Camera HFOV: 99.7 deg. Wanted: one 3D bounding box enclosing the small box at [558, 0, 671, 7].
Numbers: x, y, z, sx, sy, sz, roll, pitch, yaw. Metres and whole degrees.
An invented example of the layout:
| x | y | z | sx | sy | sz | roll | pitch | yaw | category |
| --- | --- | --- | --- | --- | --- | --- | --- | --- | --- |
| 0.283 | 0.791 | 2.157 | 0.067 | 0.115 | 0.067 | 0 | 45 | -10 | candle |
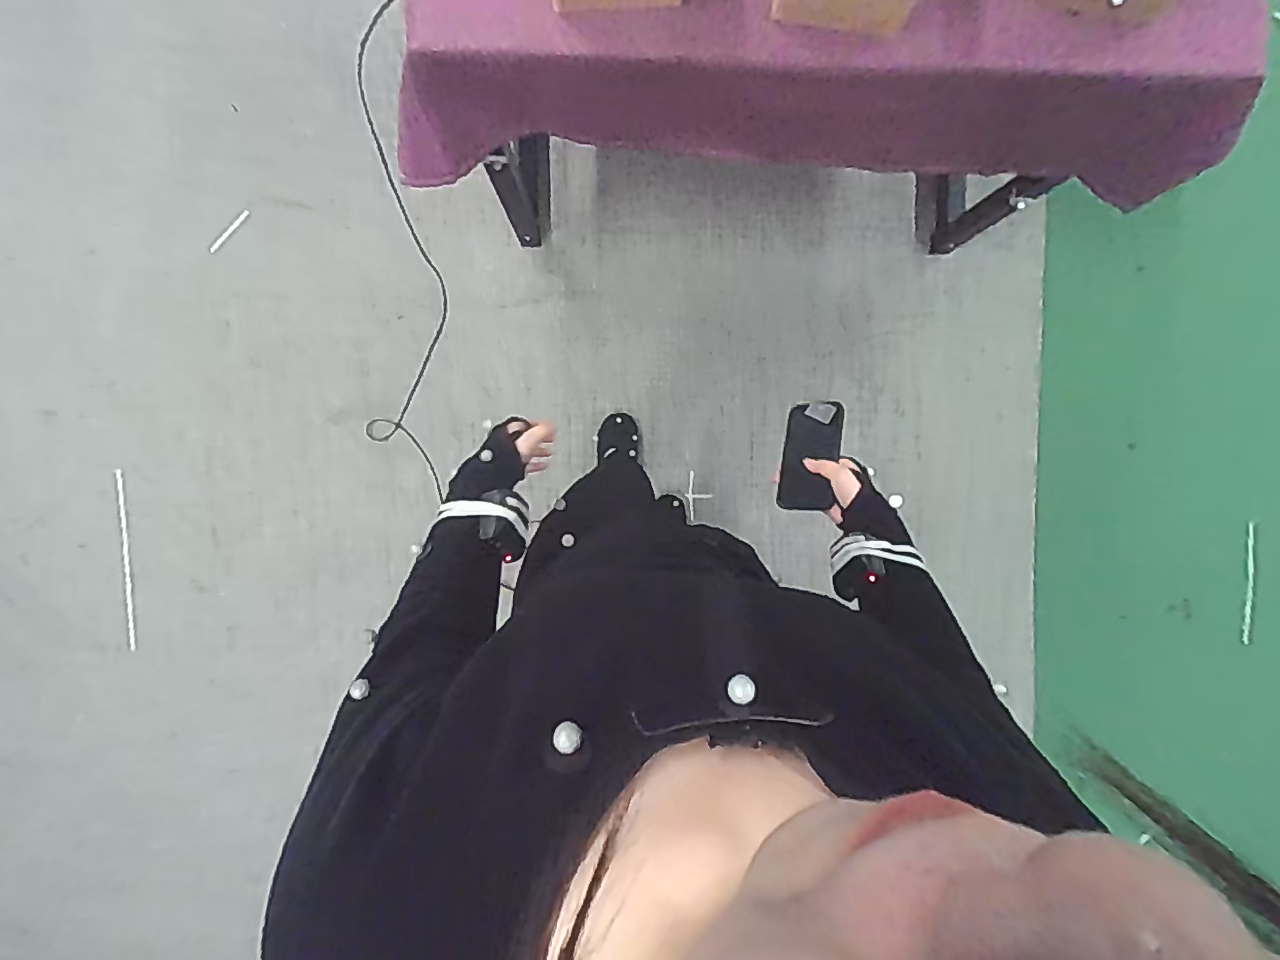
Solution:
| x | y | z | sx | sy | sz | roll | pitch | yaw | category |
| --- | --- | --- | --- | --- | --- | --- | --- | --- | --- |
| -0.031 | -0.715 | 0.647 | 0.179 | 0.176 | 0.168 | -6 | 93 | -4 | small box |

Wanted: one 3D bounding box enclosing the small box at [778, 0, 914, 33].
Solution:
| x | y | z | sx | sy | sz | roll | pitch | yaw | category |
| --- | --- | --- | --- | --- | --- | --- | --- | --- | --- |
| 0.281 | -0.699 | 0.662 | 0.179 | 0.176 | 0.168 | 6 | 92 | -4 | small box |

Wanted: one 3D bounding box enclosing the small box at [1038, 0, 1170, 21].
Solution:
| x | y | z | sx | sy | sz | roll | pitch | yaw | category |
| --- | --- | --- | --- | --- | --- | --- | --- | --- | --- |
| 0.651 | -0.731 | 0.679 | 0.179 | 0.176 | 0.168 | 7 | 92 | -3 | small box |
